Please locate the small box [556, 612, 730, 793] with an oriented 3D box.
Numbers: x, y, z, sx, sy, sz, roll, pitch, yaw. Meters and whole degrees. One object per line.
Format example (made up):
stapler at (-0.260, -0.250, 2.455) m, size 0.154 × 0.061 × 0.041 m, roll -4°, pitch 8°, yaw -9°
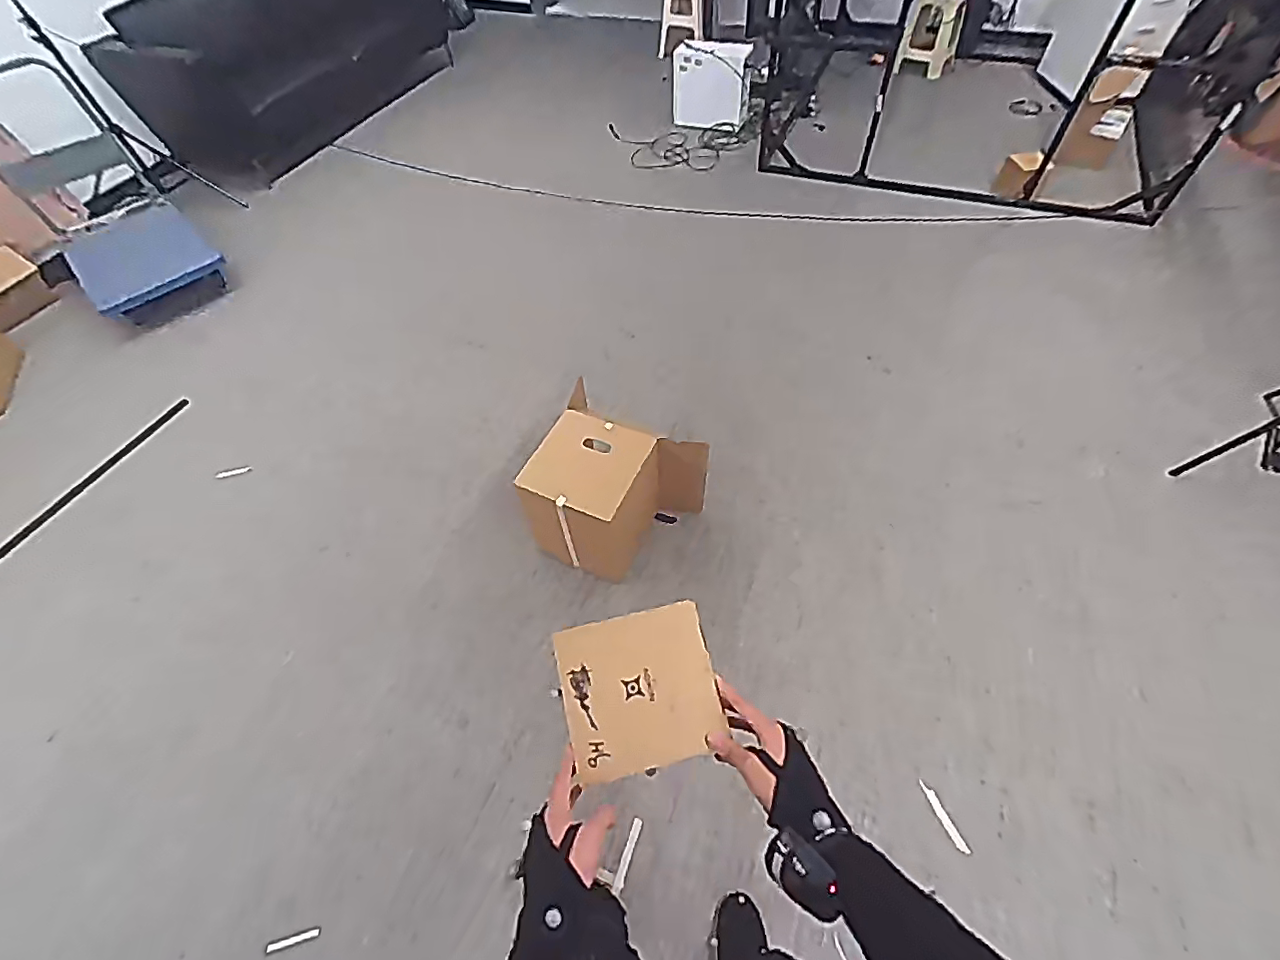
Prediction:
small box at (-0.006, 0.280, 0.694) m, size 0.179 × 0.176 × 0.168 m, roll -11°, pitch 67°, yaw -9°
